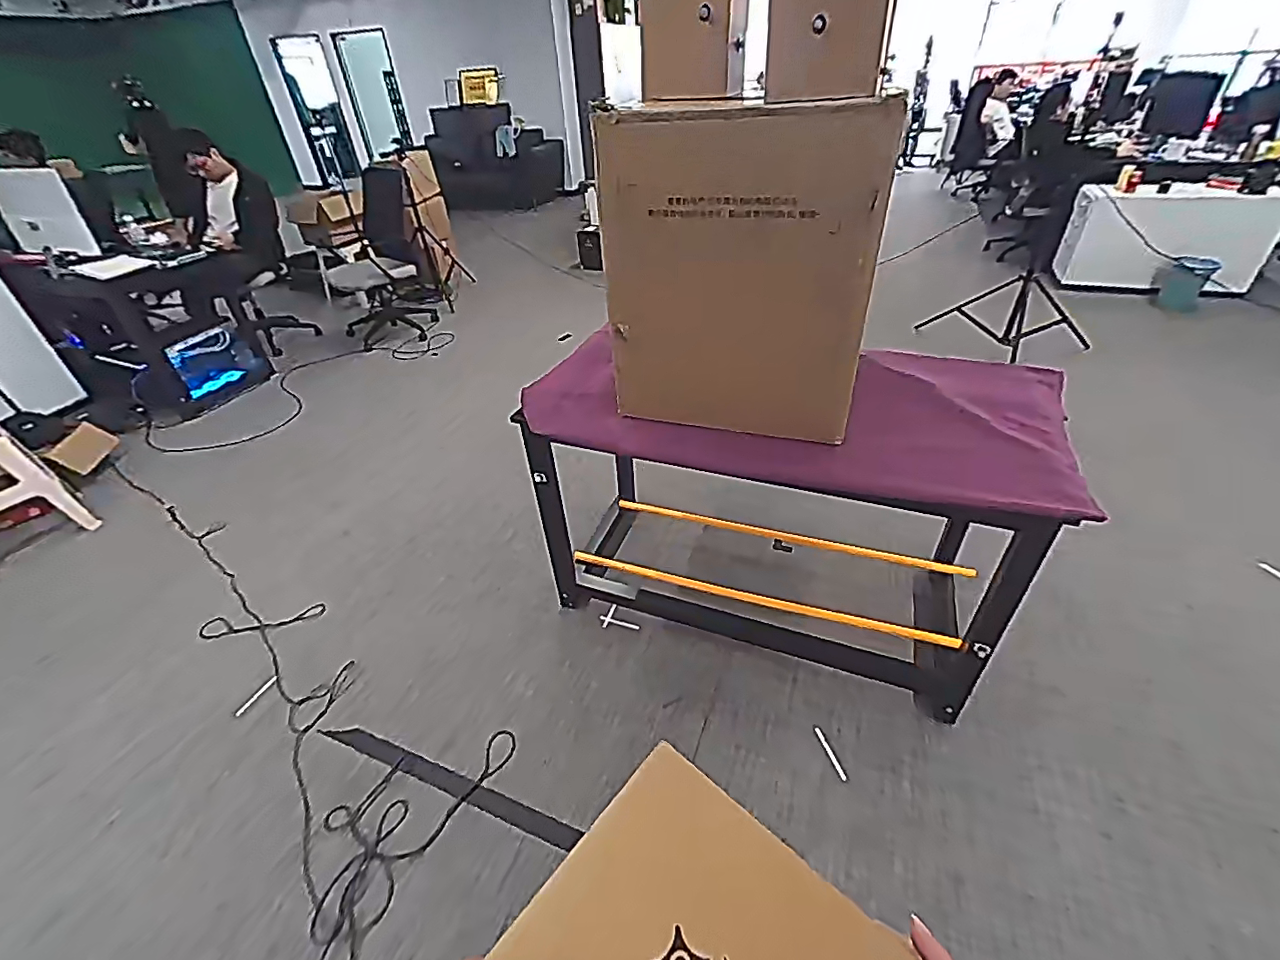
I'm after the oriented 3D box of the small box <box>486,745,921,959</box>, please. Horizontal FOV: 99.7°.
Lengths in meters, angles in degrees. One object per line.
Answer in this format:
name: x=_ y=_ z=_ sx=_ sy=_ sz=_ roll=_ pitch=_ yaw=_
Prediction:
small box: x=0.038 y=0.315 z=0.332 sx=0.179 sy=0.176 sz=0.168 roll=27 pitch=53 yaw=35
